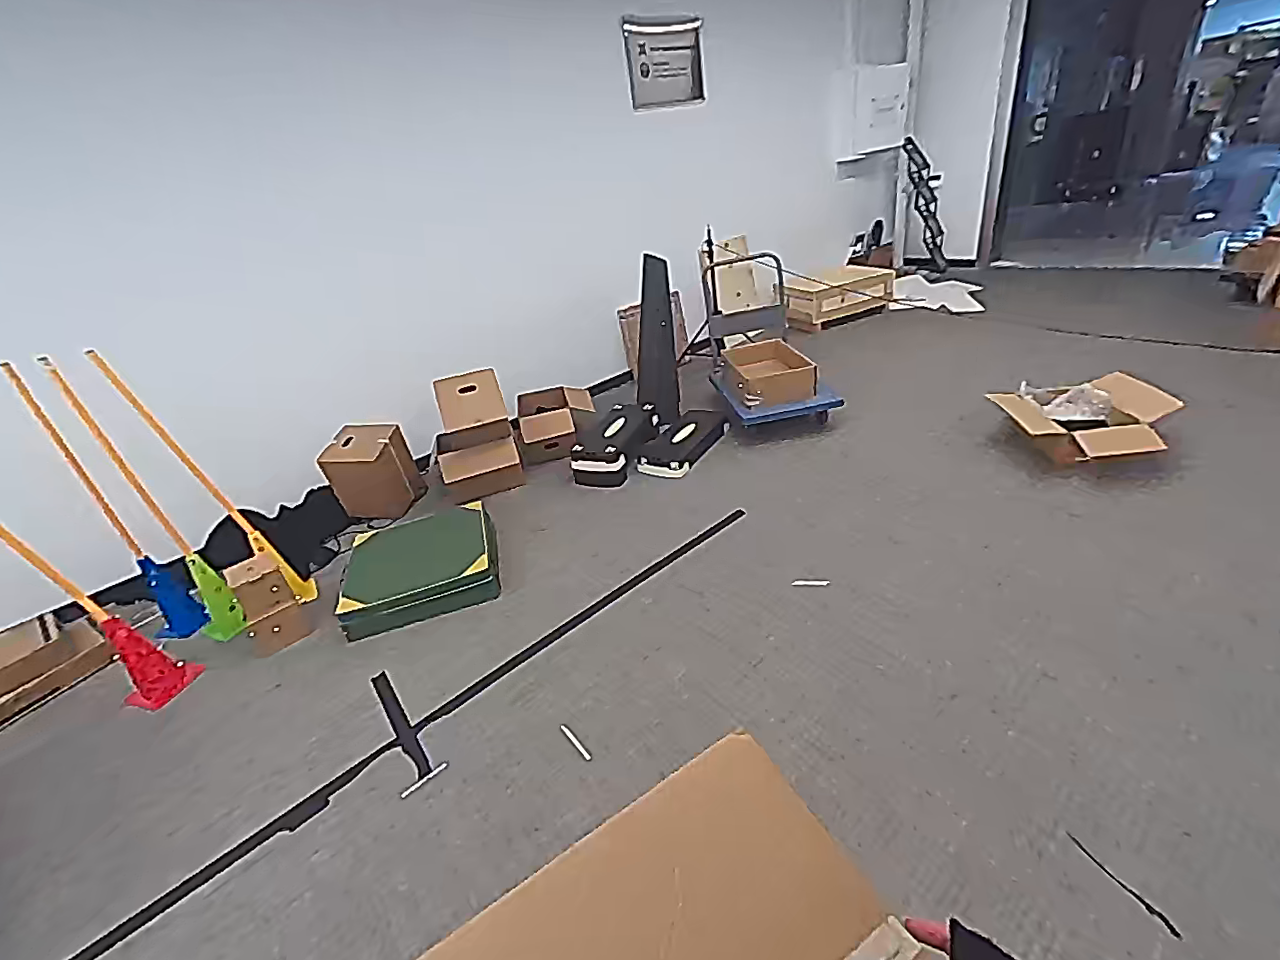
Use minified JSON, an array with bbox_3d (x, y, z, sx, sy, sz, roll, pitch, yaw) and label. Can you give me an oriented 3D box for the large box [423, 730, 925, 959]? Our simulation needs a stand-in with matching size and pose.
[{"bbox_3d":[0.013,0.479,0.376,0.408,0.320,0.320,-26,45,-19],"label":"large box"}]
